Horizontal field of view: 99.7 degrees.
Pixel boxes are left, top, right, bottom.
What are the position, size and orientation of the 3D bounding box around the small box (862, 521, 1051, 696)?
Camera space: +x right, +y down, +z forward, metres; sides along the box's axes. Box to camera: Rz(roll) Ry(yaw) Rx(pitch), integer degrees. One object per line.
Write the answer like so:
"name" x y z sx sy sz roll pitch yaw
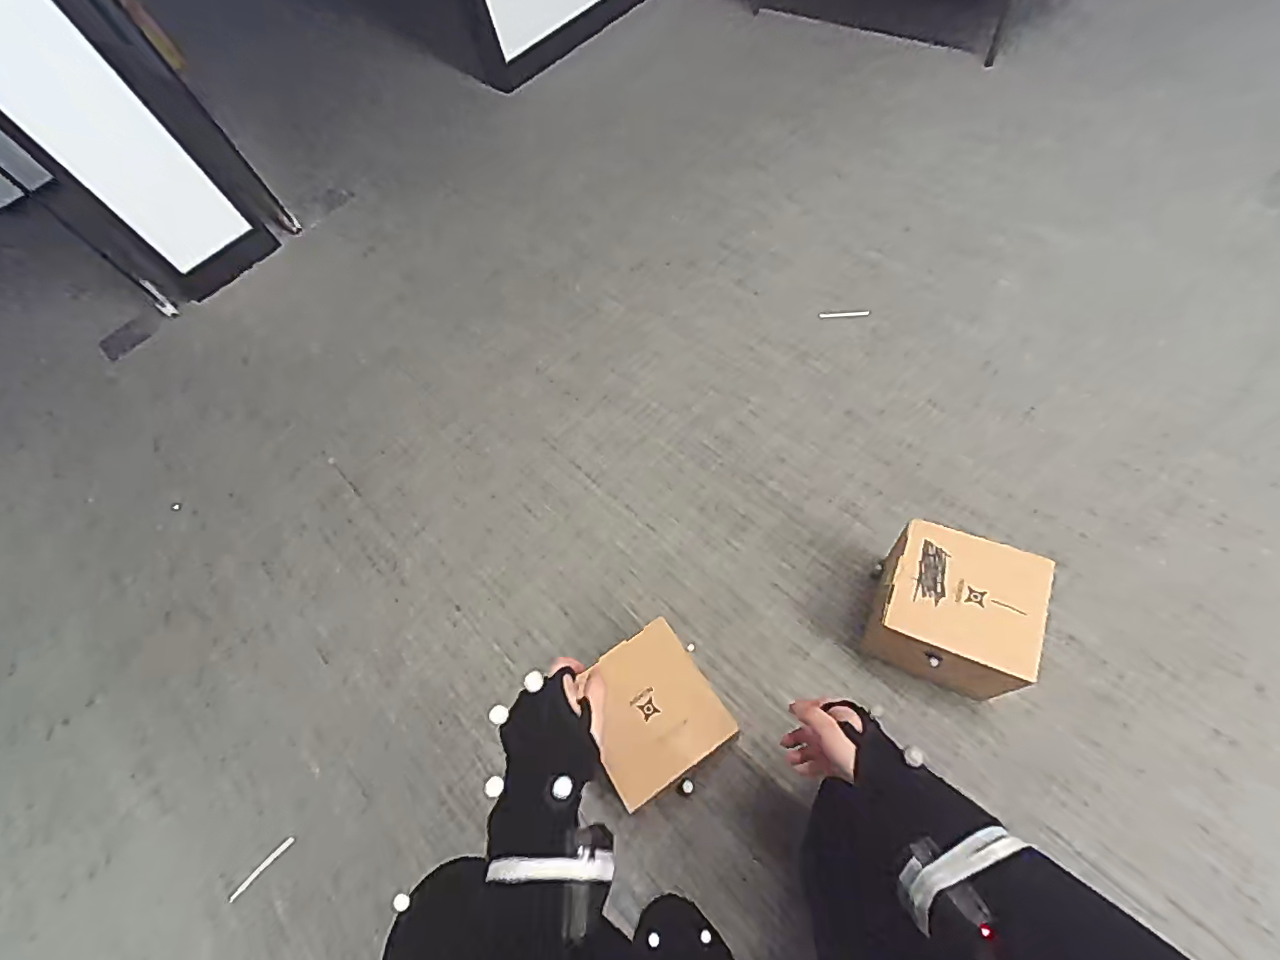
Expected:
"small box" 0.431 0.186 0.761 0.179 0.176 0.168 19 66 20
